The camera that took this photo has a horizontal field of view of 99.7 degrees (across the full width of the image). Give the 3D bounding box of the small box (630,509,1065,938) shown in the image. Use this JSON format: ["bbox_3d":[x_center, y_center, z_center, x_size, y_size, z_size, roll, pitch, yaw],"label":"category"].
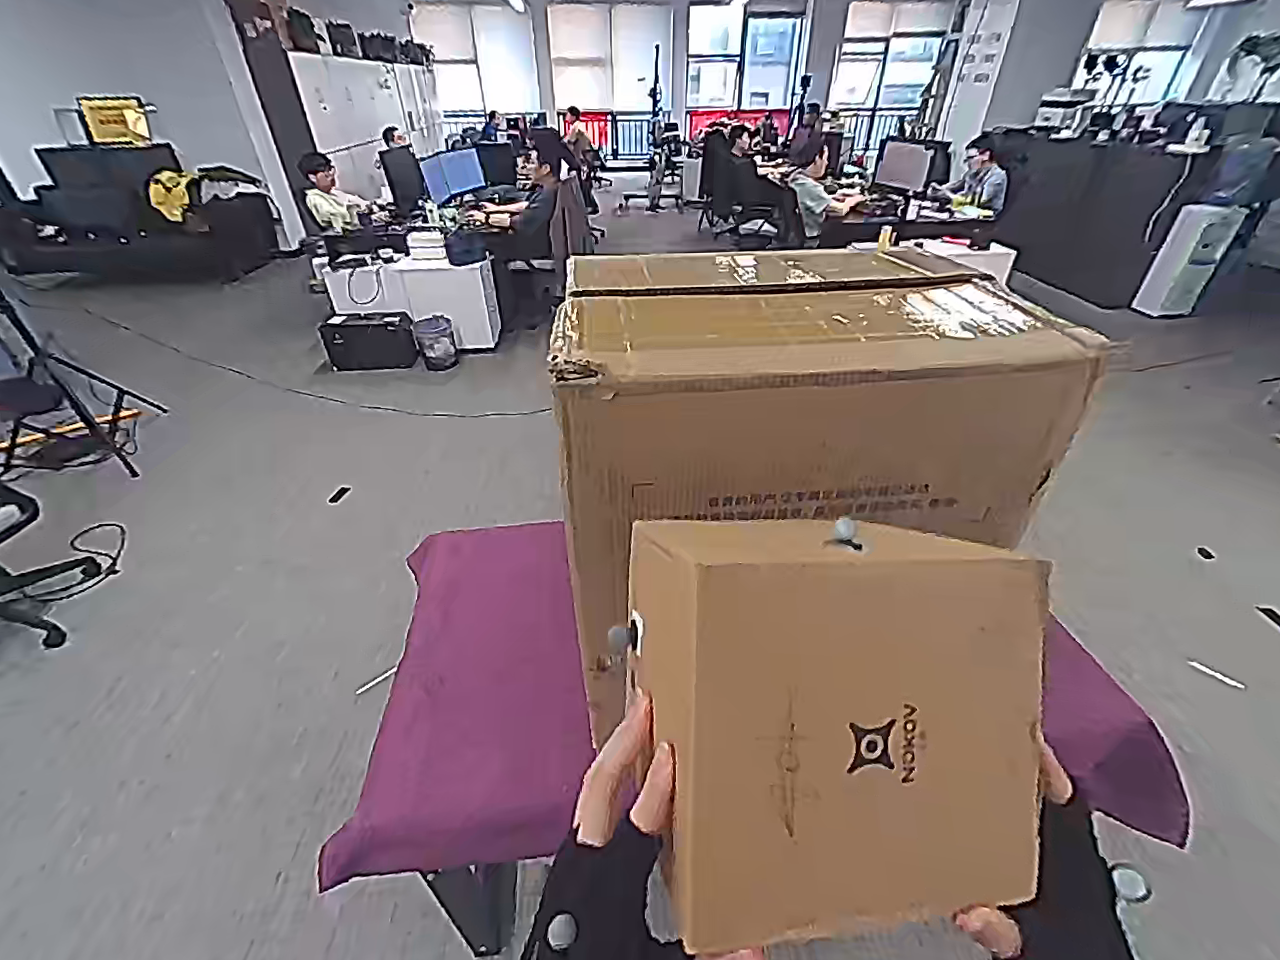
[{"bbox_3d":[0.095,0.104,0.313,0.179,0.168,0.176,0,1,-10],"label":"small box"}]
